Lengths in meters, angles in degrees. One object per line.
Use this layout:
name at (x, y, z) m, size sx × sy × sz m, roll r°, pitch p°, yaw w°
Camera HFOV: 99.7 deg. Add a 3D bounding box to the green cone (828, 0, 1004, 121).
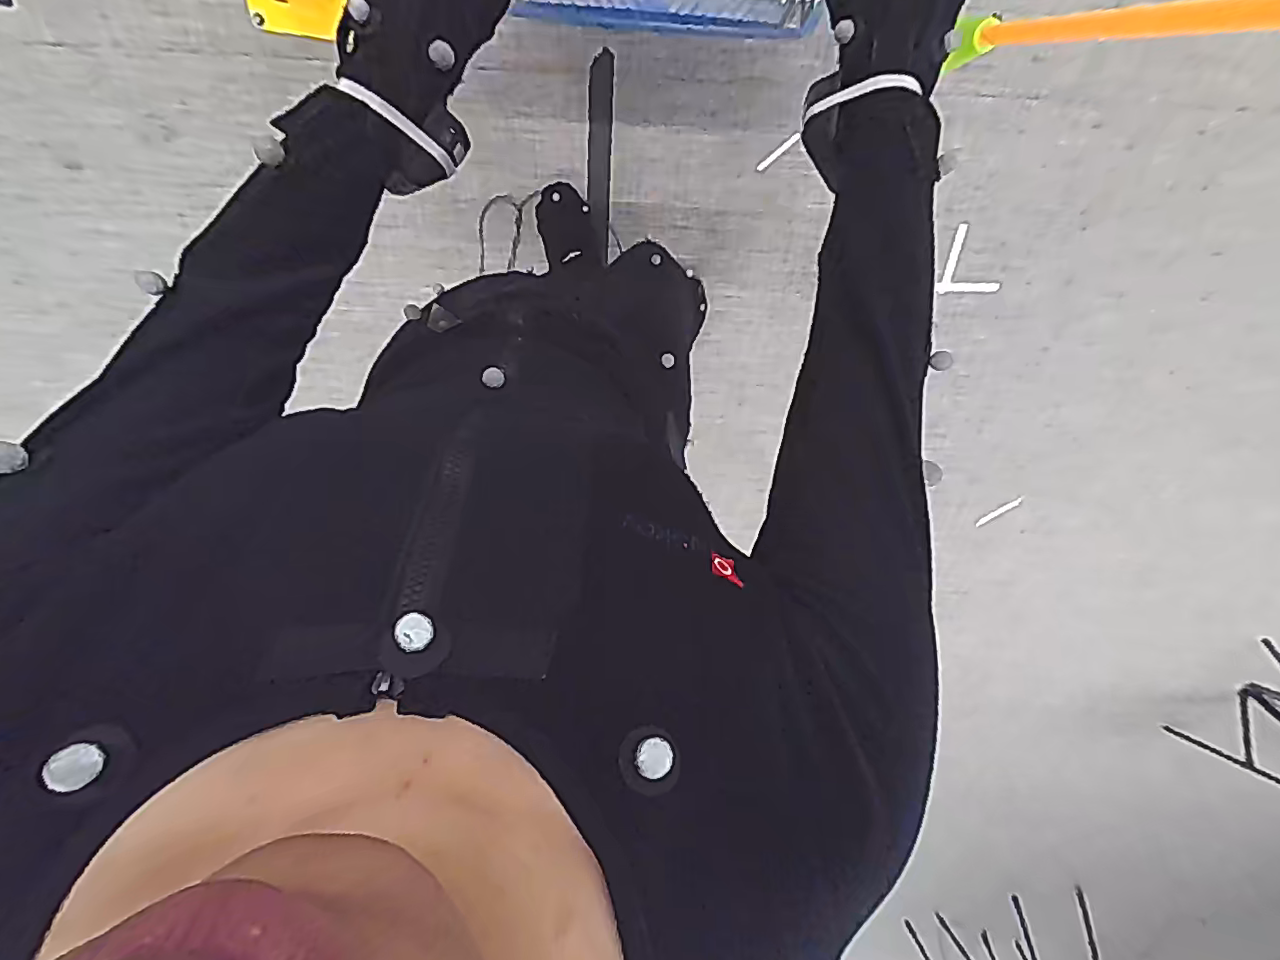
green cone at (0.505, -0.757, 0.947) m, size 0.202 × 0.368 × 0.200 m, roll 4°, pitch 124°, yaw -6°
